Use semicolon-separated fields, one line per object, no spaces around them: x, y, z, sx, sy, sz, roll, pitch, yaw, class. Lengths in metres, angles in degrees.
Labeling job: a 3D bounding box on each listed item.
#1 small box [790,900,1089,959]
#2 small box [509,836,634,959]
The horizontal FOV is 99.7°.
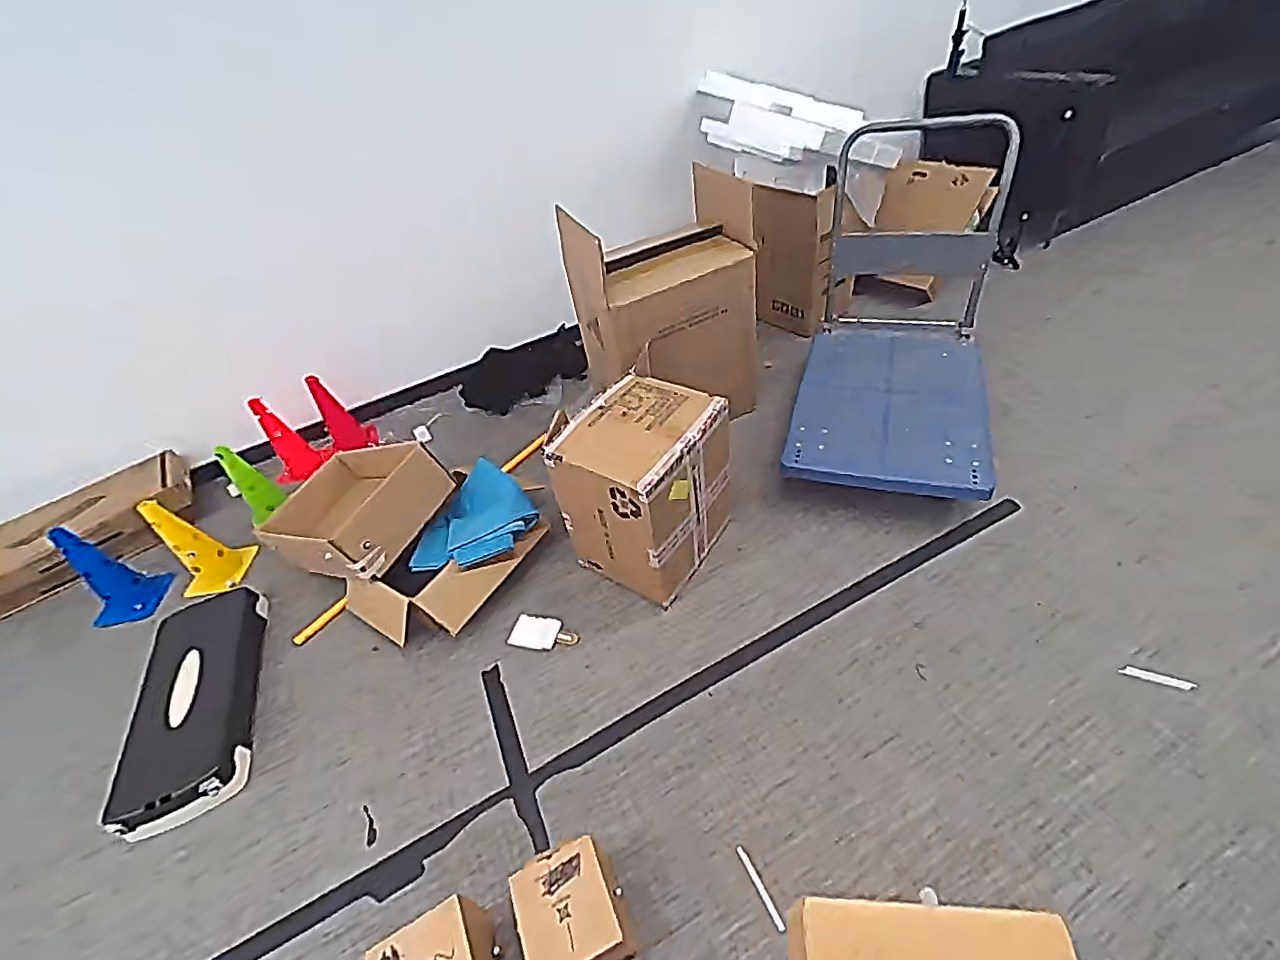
0.197;0.400;0.357;0.168;0.176;0.179;-1;50;7;small box
-0.125;0.812;1.004;0.168;0.176;0.179;-22;45;-12;small box
